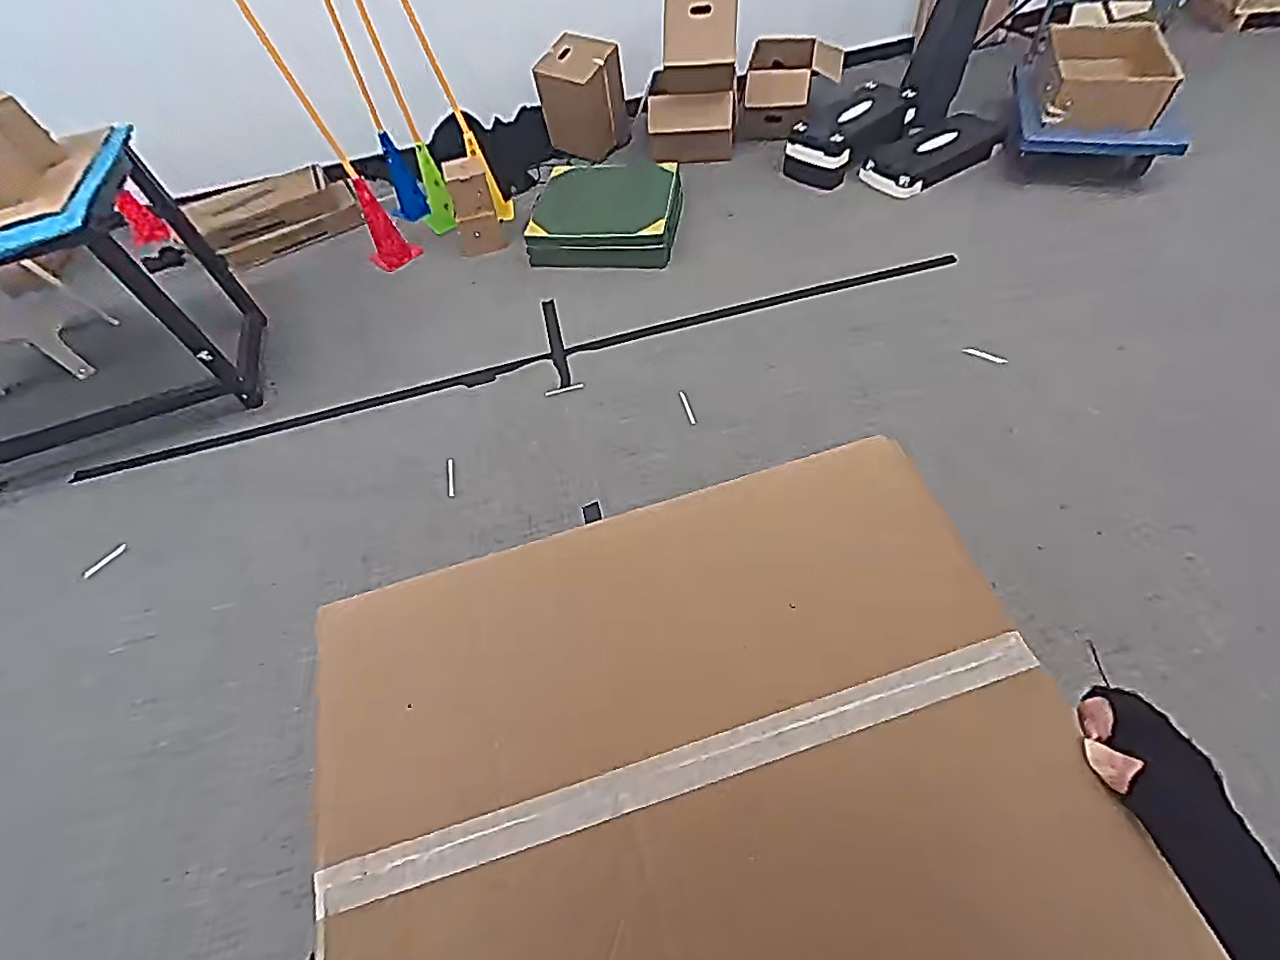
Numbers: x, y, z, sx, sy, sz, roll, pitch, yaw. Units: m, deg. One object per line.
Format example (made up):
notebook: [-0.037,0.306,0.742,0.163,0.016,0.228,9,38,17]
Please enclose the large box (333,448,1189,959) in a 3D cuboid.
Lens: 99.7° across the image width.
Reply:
large box: [0.041,0.231,0.436,0.408,0.320,0.320,-18,60,-4]
